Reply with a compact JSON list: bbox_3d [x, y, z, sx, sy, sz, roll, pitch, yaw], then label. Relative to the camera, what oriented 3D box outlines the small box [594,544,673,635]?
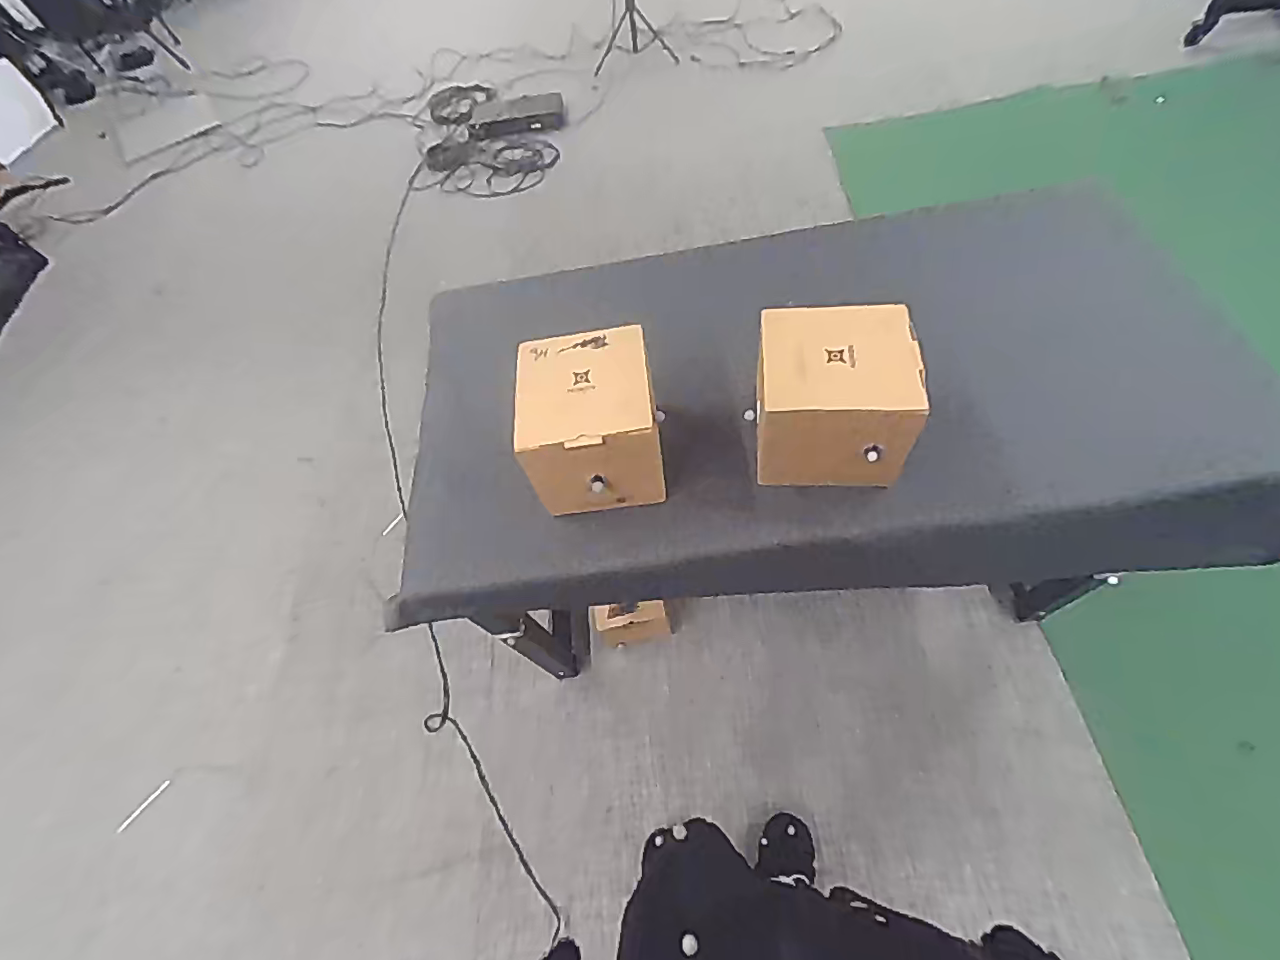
[{"bbox_3d":[-0.014,0.285,1.369,0.168,0.176,0.179,-11,59,2],"label":"small box"}]

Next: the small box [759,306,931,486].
[{"bbox_3d":[0.249,-0.102,0.704,0.179,0.176,0.168,0,59,10],"label":"small box"}]

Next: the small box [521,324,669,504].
[{"bbox_3d":[-0.054,-0.079,0.734,0.168,0.176,0.179,-7,59,4],"label":"small box"}]
